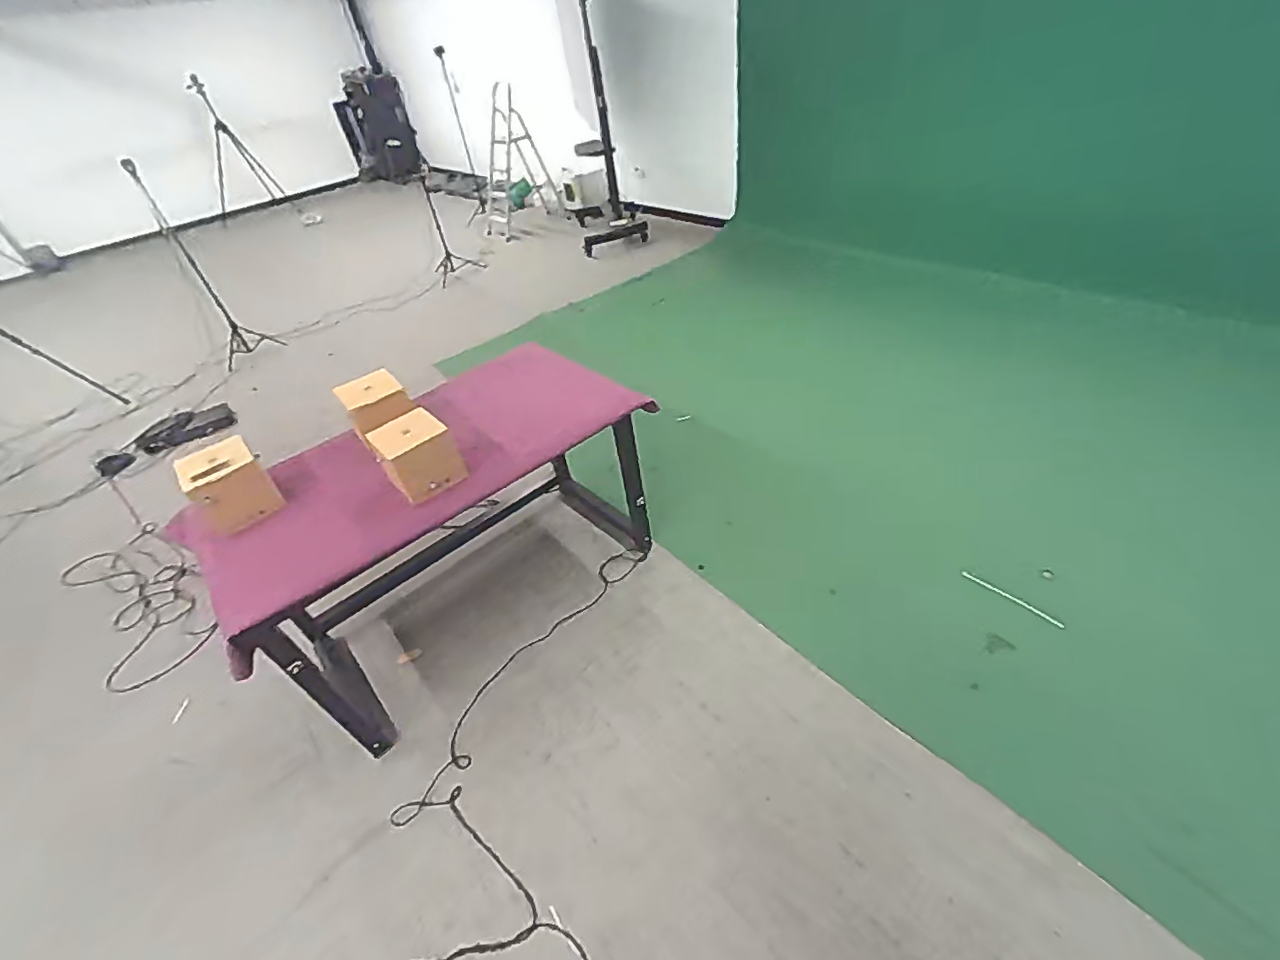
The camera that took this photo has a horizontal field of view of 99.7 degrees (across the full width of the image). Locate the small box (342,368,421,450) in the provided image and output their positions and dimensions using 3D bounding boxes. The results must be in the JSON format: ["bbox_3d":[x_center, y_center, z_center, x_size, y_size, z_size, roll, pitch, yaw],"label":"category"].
[{"bbox_3d":[-0.790,-0.219,1.687,0.168,0.176,0.179,-33,48,-24],"label":"small box"}]

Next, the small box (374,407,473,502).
[{"bbox_3d":[-0.589,-0.069,1.479,0.168,0.176,0.179,-36,46,-24],"label":"small box"}]
